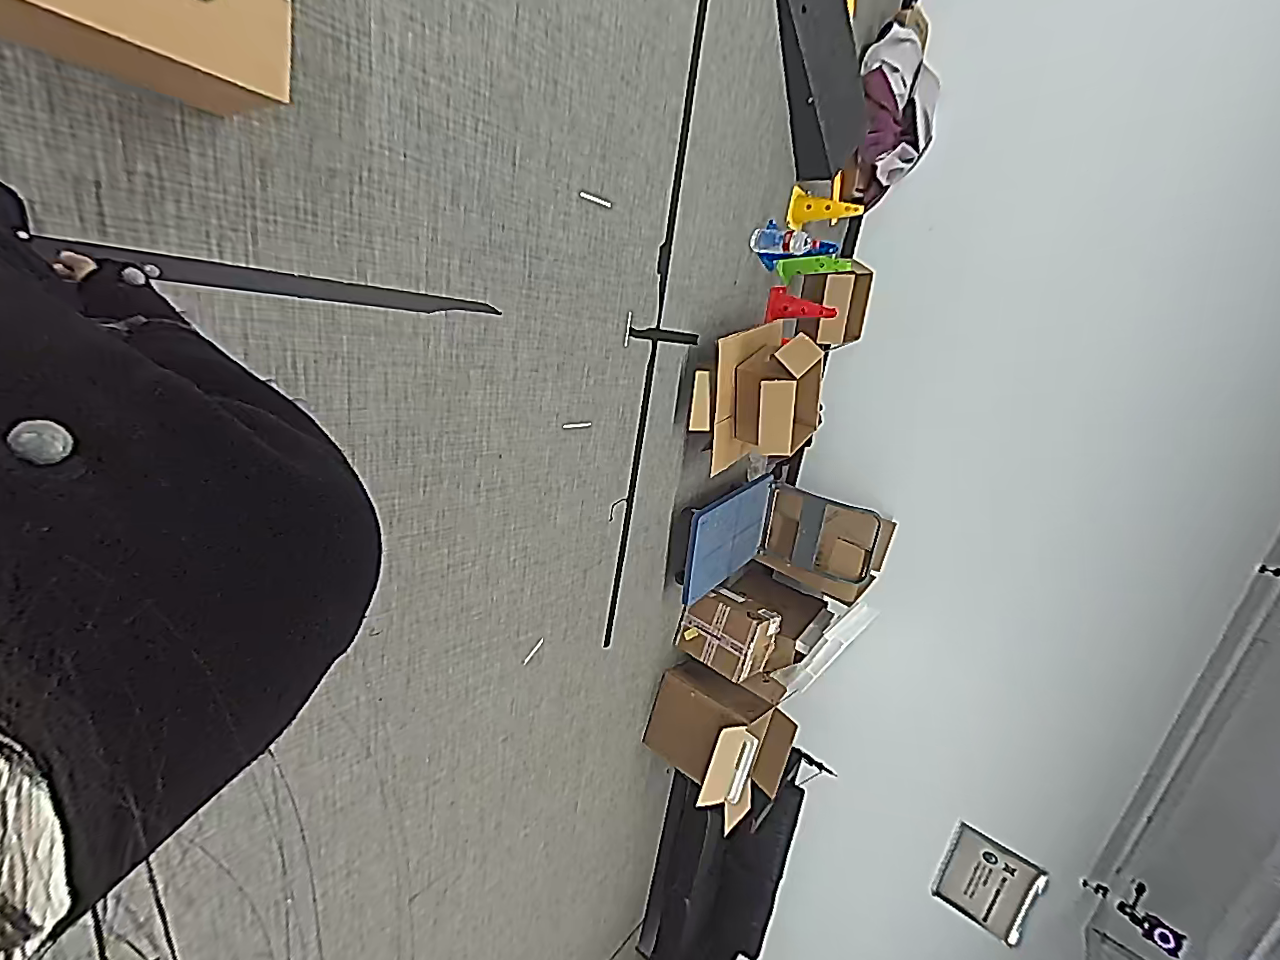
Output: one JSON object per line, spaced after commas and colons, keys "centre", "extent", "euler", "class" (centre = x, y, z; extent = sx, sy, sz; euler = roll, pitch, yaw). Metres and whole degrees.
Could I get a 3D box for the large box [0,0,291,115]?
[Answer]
{"centre": [-0.802, -0.803, 0.800], "extent": [0.408, 0.320, 0.320], "euler": [-10, 115, -53], "class": "large box"}
